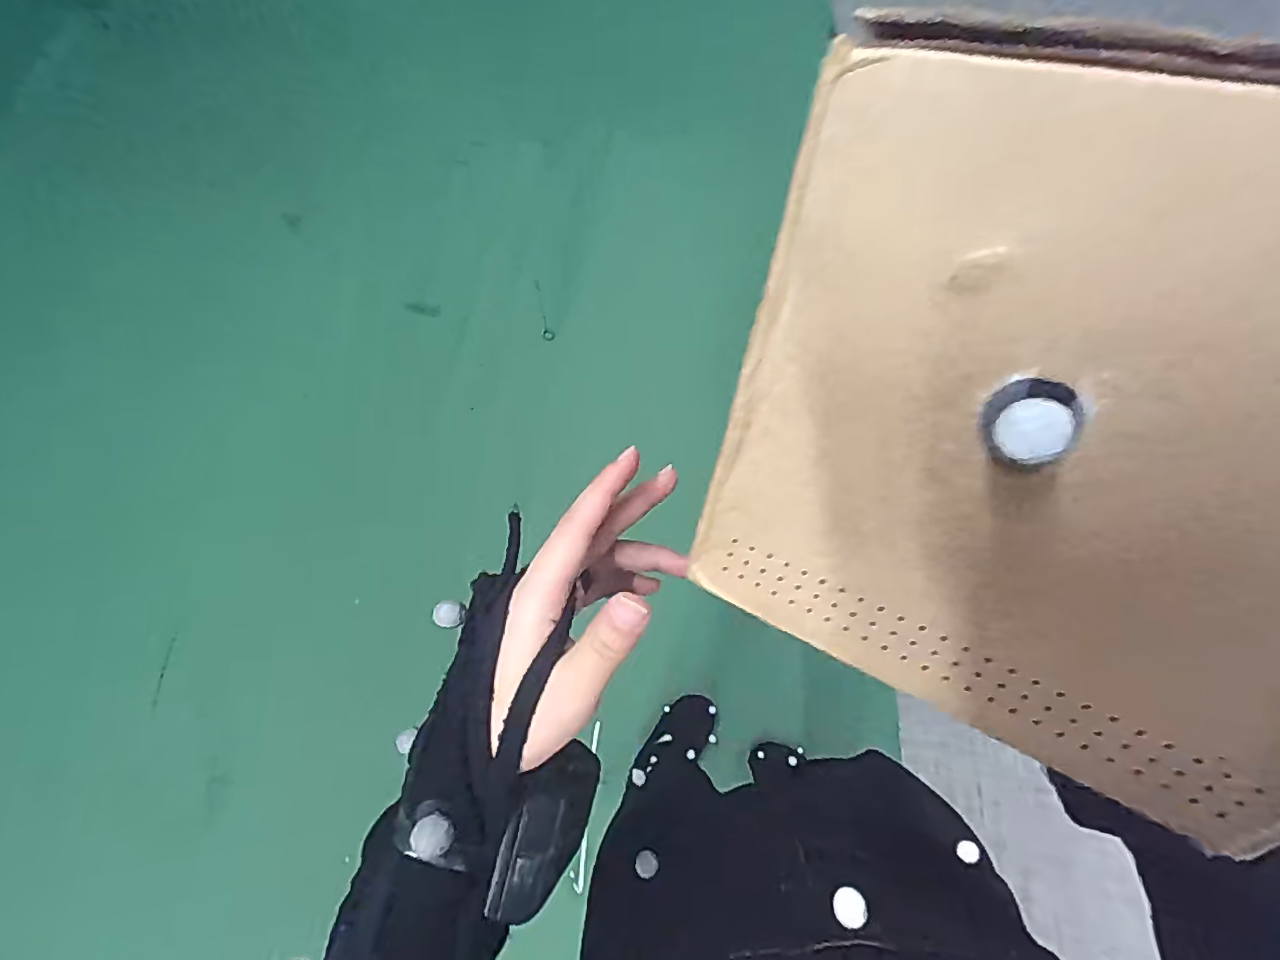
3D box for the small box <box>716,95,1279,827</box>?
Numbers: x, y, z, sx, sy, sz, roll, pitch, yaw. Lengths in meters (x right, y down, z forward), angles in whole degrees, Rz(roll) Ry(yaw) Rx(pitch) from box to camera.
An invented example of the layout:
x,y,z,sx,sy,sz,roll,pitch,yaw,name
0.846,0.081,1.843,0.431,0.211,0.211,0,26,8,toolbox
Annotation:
x,y,z,sx,sy,sz,roll,pitch,yaw,name
0.145,-0.021,0.199,0.179,0.176,0.168,23,37,20,small box
